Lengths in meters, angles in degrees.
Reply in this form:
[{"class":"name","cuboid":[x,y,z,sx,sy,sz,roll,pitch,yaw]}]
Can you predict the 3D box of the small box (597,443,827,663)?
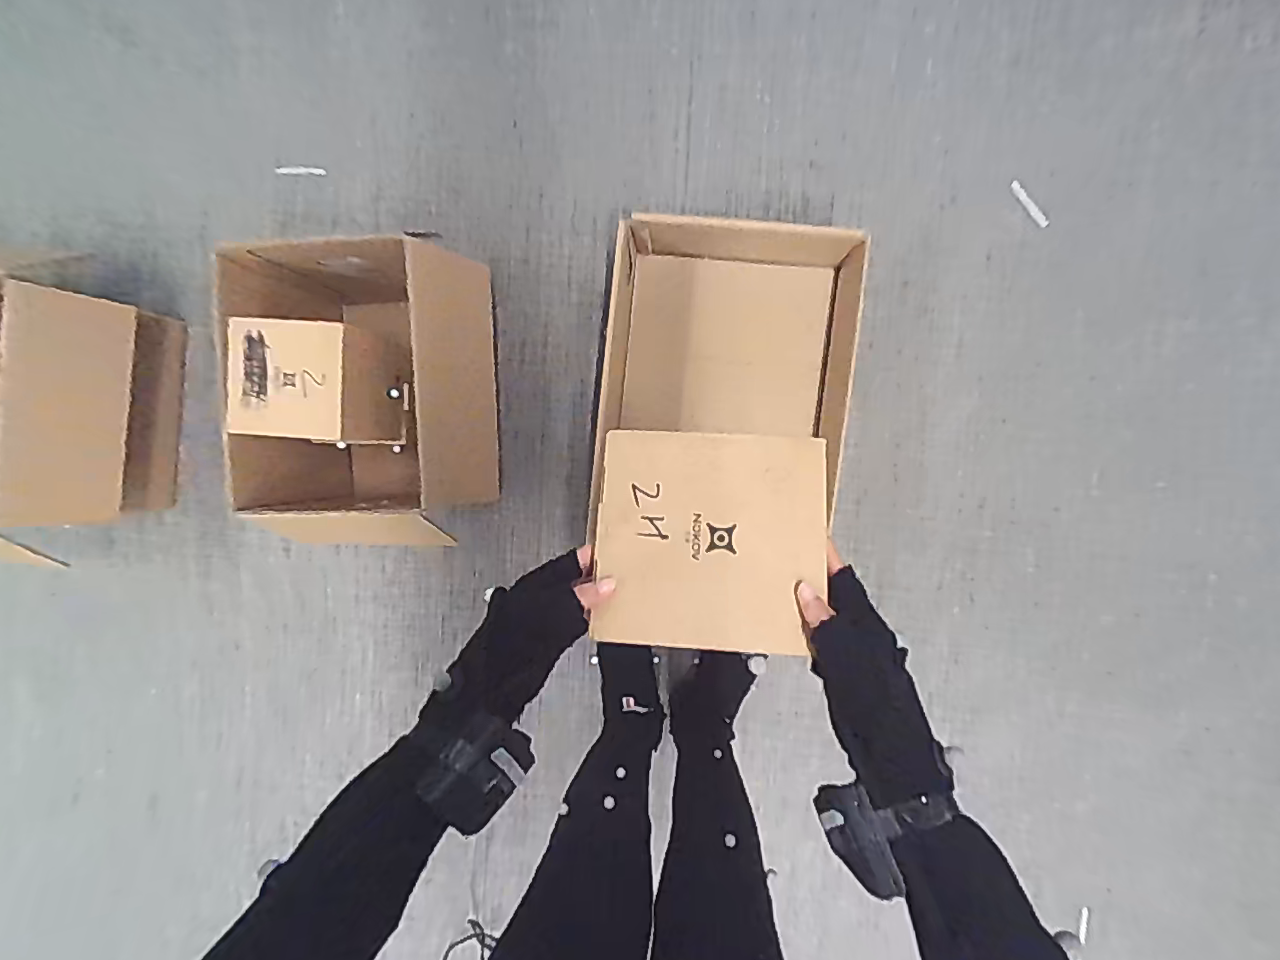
[{"class":"small box","cuboid":[0.063,0.074,0.507,0.179,0.176,0.168,3,74,5]}]
